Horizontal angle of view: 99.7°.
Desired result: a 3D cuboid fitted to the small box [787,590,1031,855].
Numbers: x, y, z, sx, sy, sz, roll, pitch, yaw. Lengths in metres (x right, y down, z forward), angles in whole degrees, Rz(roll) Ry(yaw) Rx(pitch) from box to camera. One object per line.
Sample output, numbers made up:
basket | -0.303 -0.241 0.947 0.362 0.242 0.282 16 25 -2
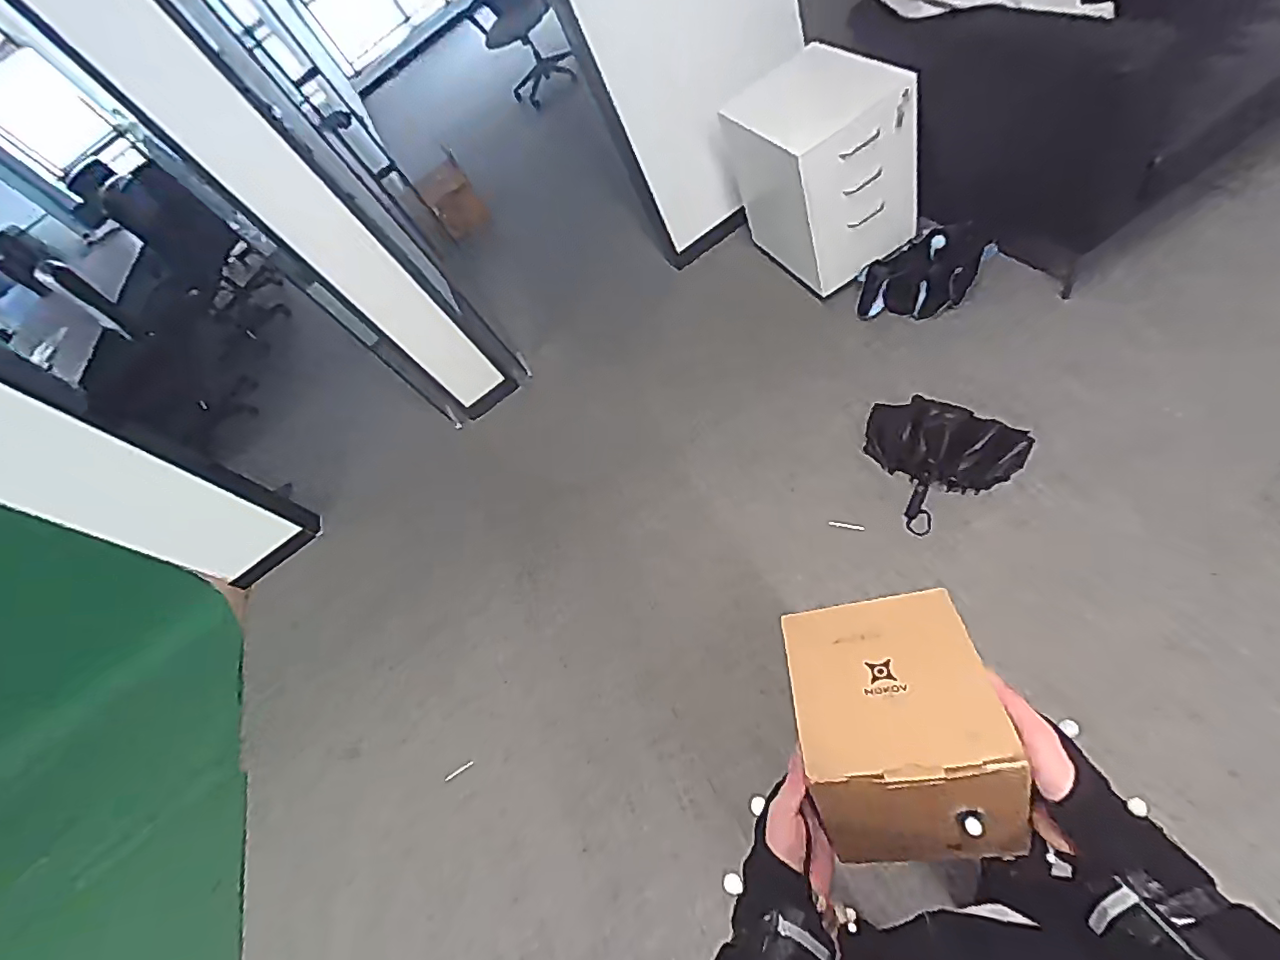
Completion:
small box | 0.253 0.241 0.530 0.168 0.176 0.179 -14 31 15
